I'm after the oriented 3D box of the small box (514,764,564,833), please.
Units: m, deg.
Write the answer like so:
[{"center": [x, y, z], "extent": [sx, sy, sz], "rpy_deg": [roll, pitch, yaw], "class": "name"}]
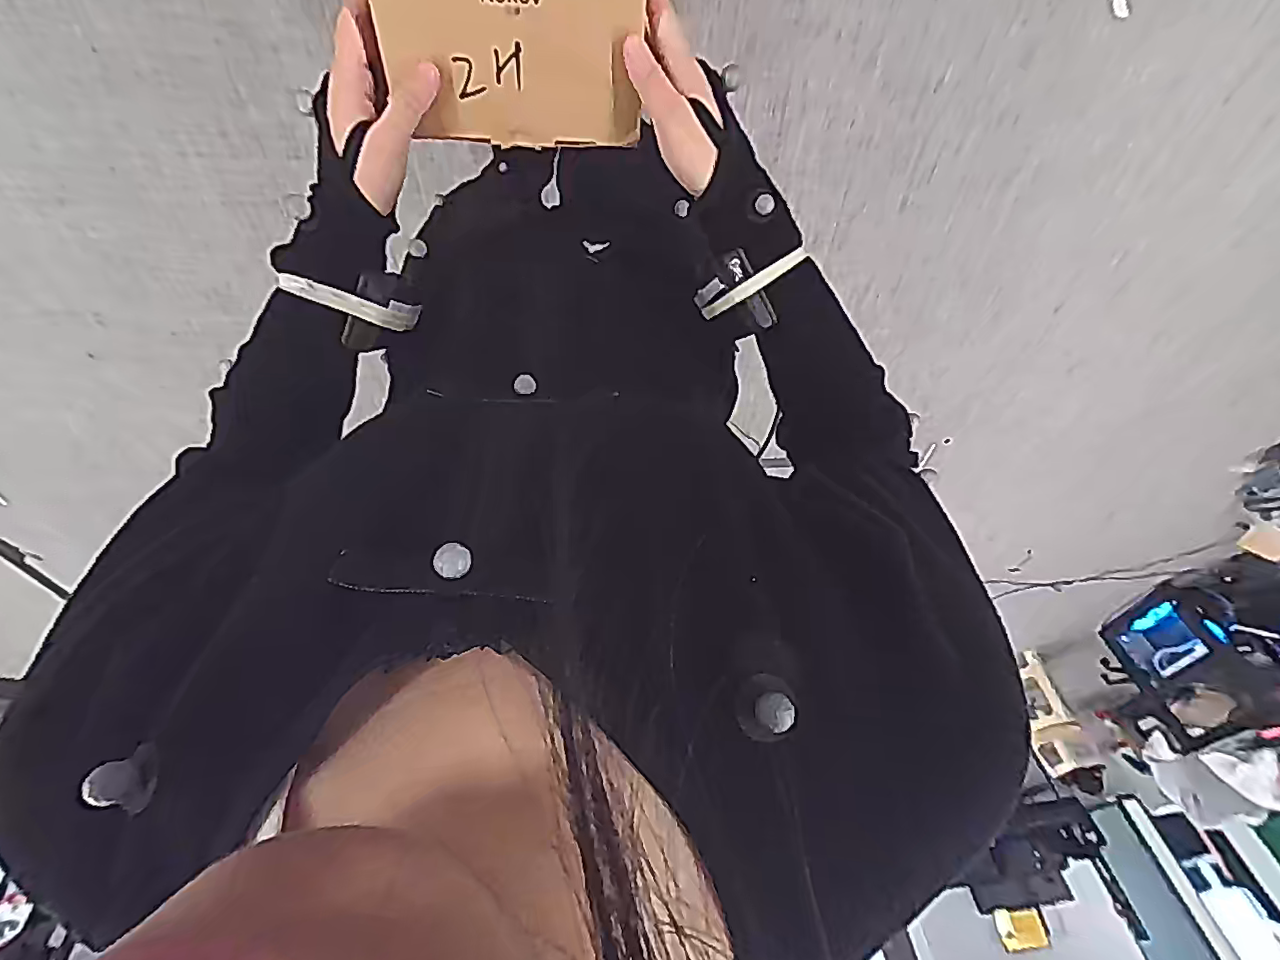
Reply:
[{"center": [-0.351, 1.113, 1.893], "extent": [0.168, 0.176, 0.179], "rpy_deg": [-2, 137, -9], "class": "small box"}]
